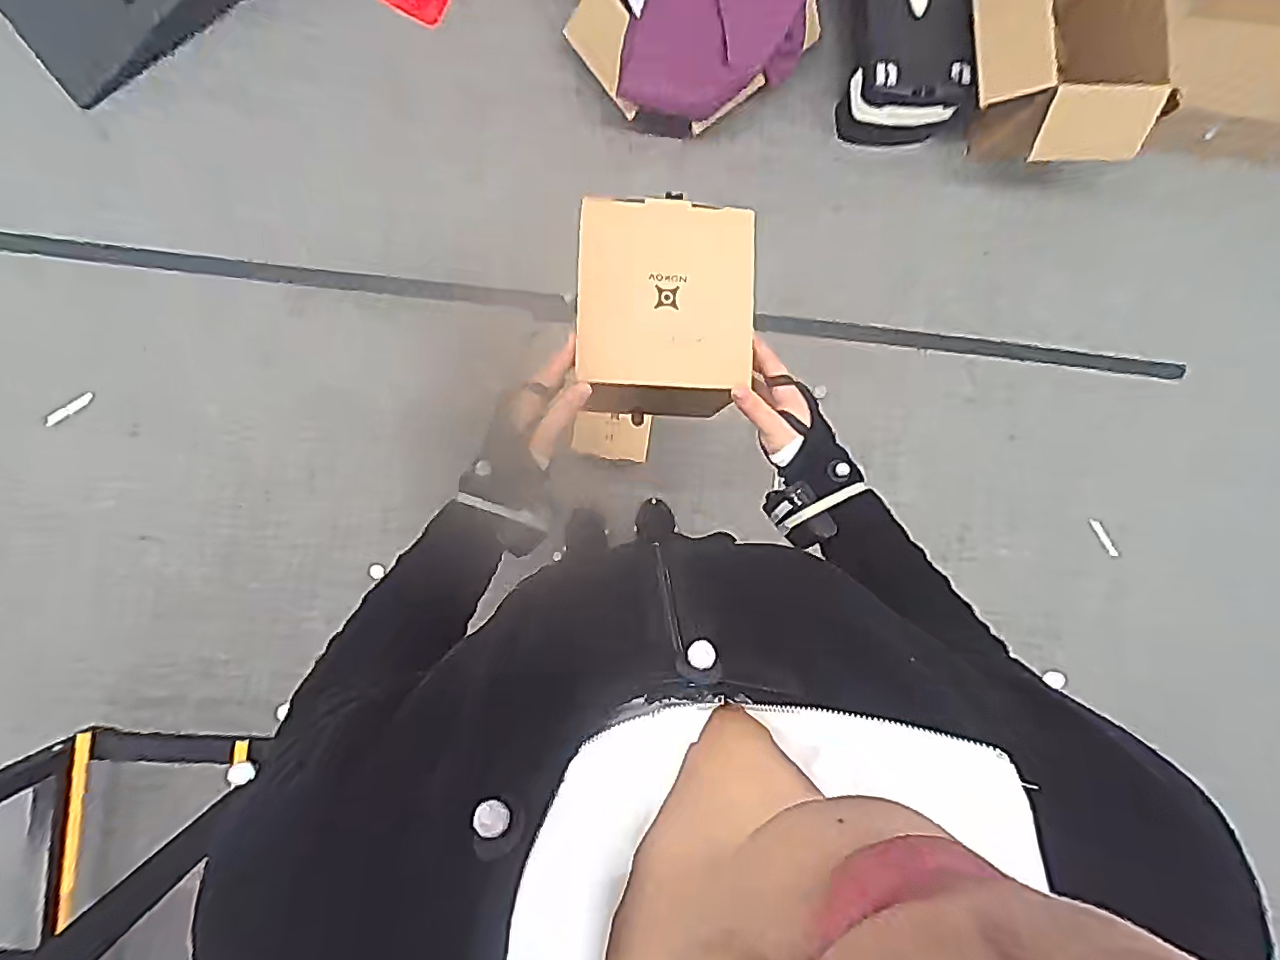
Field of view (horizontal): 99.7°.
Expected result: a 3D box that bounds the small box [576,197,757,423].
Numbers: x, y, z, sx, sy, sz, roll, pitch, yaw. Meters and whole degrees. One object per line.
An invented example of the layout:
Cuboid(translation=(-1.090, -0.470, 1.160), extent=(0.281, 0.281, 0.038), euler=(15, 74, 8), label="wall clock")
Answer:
Cuboid(translation=(0.018, -0.164, 0.575), extent=(0.168, 0.176, 0.179), euler=(2, 87, -6), label="small box")

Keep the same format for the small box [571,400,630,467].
Cuboid(translation=(-0.080, -0.128, 1.423), extent=(0.179, 0.176, 0.168), euler=(9, 89, -5), label="small box")

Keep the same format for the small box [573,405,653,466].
Cuboid(translation=(-0.060, -0.133, 1.259), extent=(0.168, 0.176, 0.179), euler=(9, 90, -4), label="small box")
